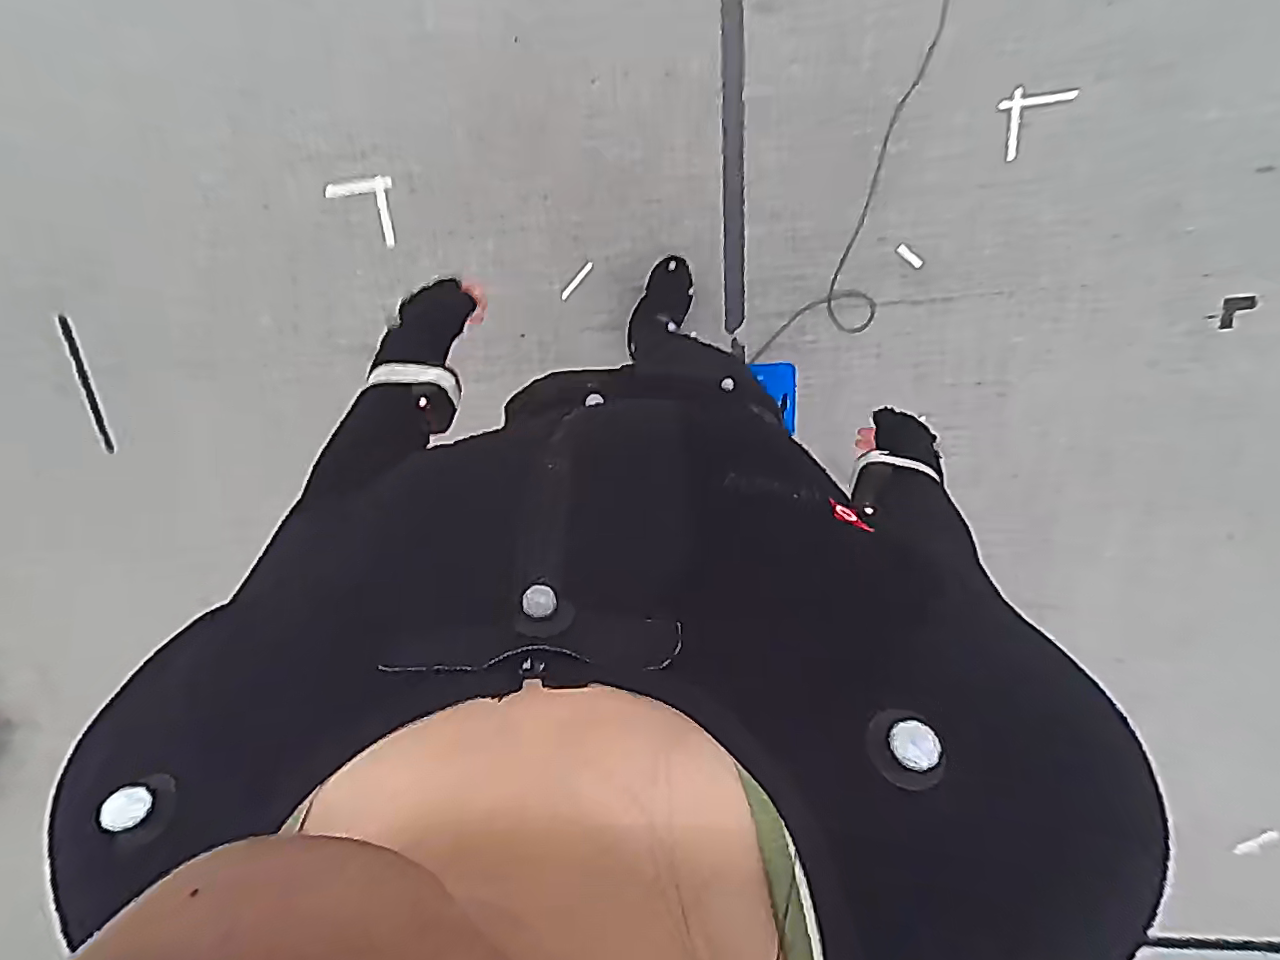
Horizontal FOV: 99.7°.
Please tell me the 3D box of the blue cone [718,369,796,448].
[{"bbox_3d":[0.282,-0.136,1.205,0.193,0.380,0.192,-4,105,6],"label":"blue cone"}]
